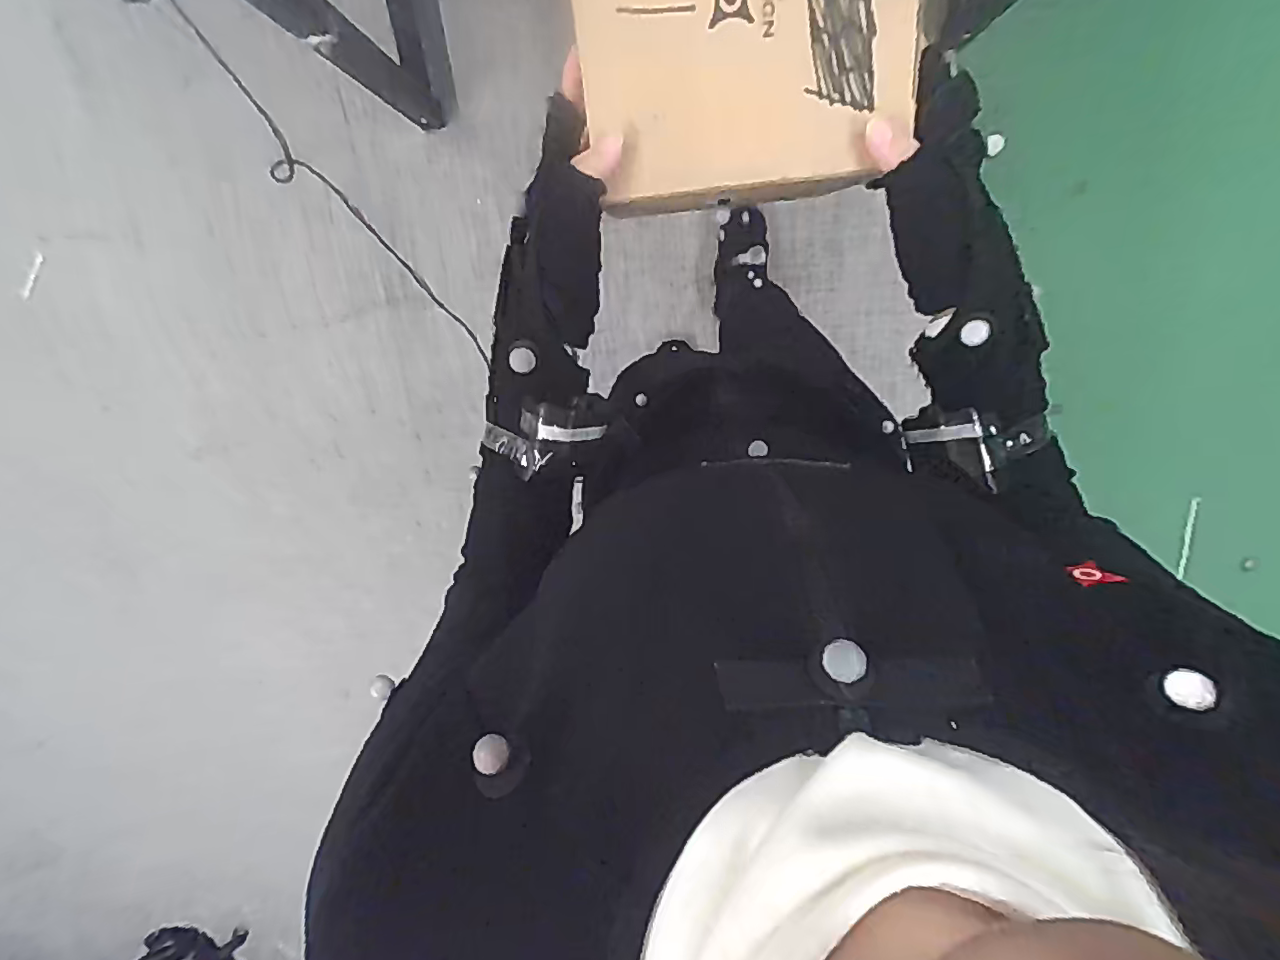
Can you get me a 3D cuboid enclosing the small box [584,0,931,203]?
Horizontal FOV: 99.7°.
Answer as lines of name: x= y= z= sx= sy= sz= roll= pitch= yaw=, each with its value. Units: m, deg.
small box: x=0.057 y=-0.284 z=0.344 sx=0.179 sy=0.176 sz=0.168 roll=-9 pitch=113 yaw=3
